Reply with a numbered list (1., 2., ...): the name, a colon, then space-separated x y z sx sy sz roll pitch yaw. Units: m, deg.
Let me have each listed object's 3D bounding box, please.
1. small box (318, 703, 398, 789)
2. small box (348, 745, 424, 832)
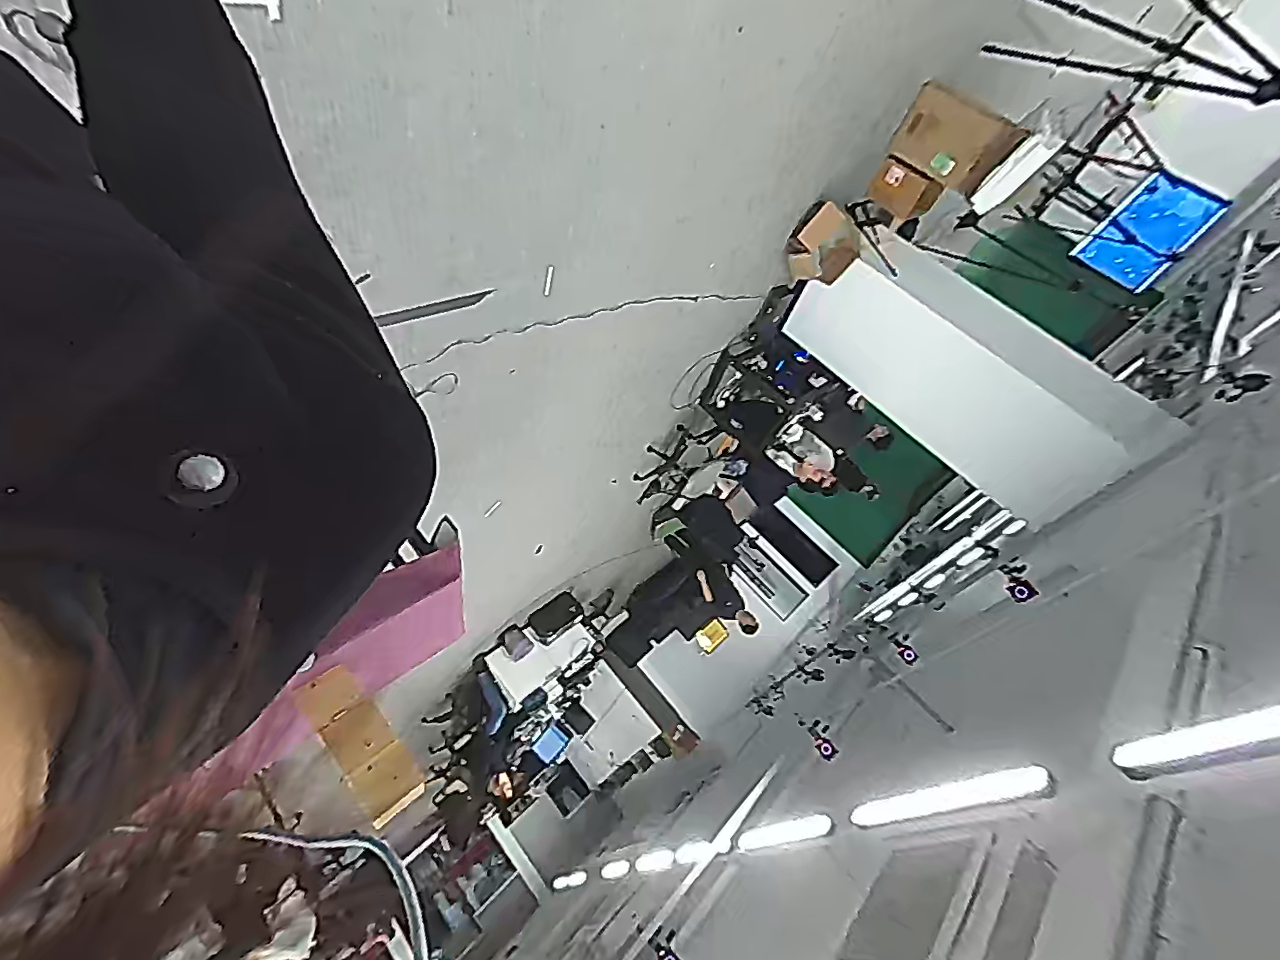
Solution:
1. small box: -0.923 0.870 1.779 0.179 0.176 0.168 -30 157 -38
2. small box: -0.815 0.984 1.735 0.168 0.176 0.179 -31 159 -38
